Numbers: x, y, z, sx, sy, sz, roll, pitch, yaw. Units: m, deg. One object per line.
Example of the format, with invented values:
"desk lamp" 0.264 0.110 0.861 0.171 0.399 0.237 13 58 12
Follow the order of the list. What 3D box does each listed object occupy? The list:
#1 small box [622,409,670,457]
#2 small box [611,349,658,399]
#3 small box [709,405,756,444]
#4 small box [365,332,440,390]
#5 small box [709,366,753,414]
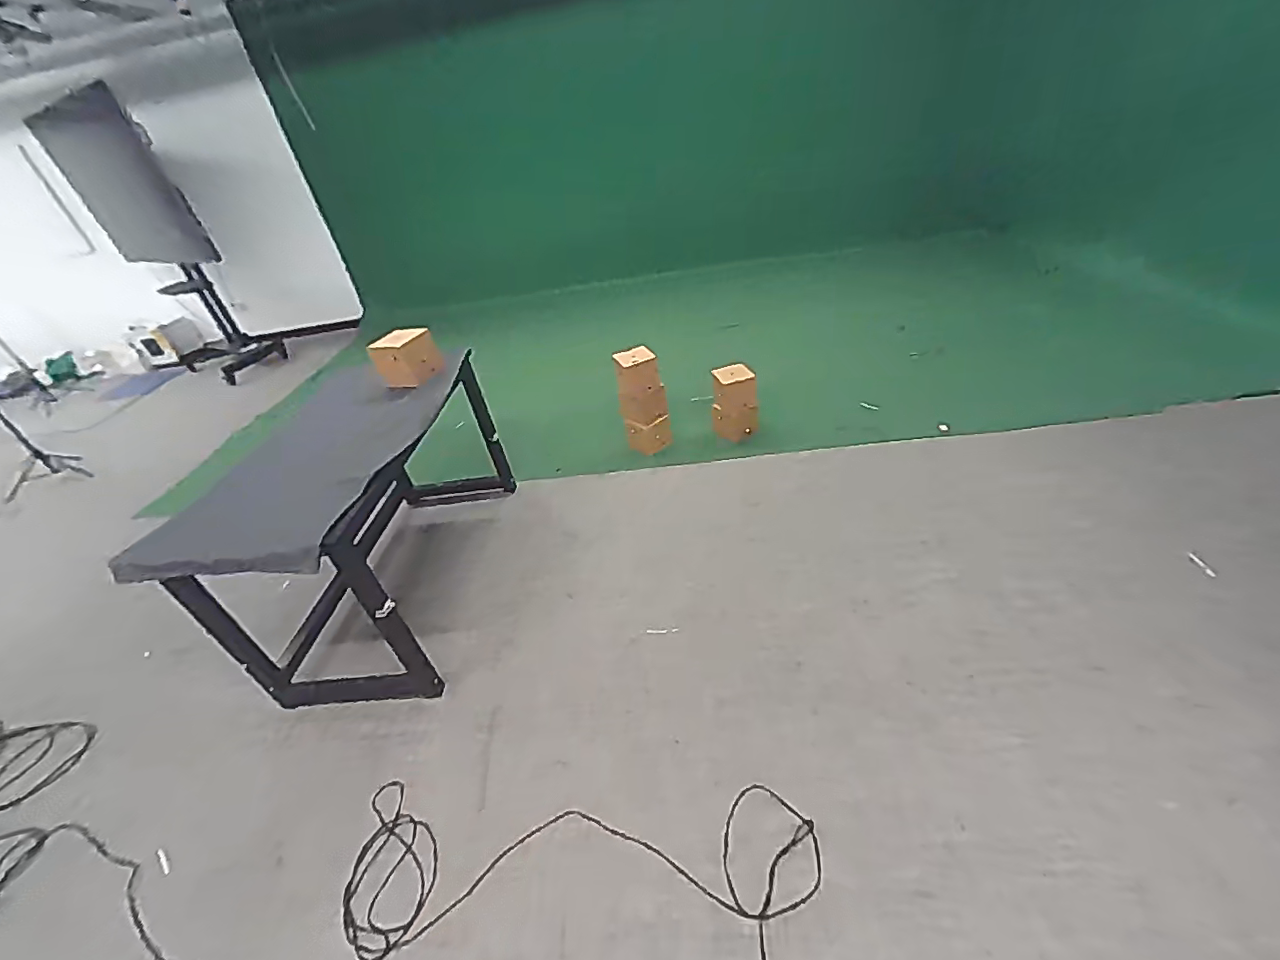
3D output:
"small box" 0.035 -0.241 2.803 0.168 0.176 0.179 -34 41 -28
"small box" -0.026 -0.514 2.628 0.168 0.176 0.179 -21 36 -13
"small box" 0.475 -0.304 2.765 0.168 0.176 0.179 -29 40 -23
"small box" -0.913 -0.459 2.096 0.179 0.176 0.168 4 38 25
"small box" 0.453 -0.439 2.677 0.168 0.176 0.179 -15 35 -8
